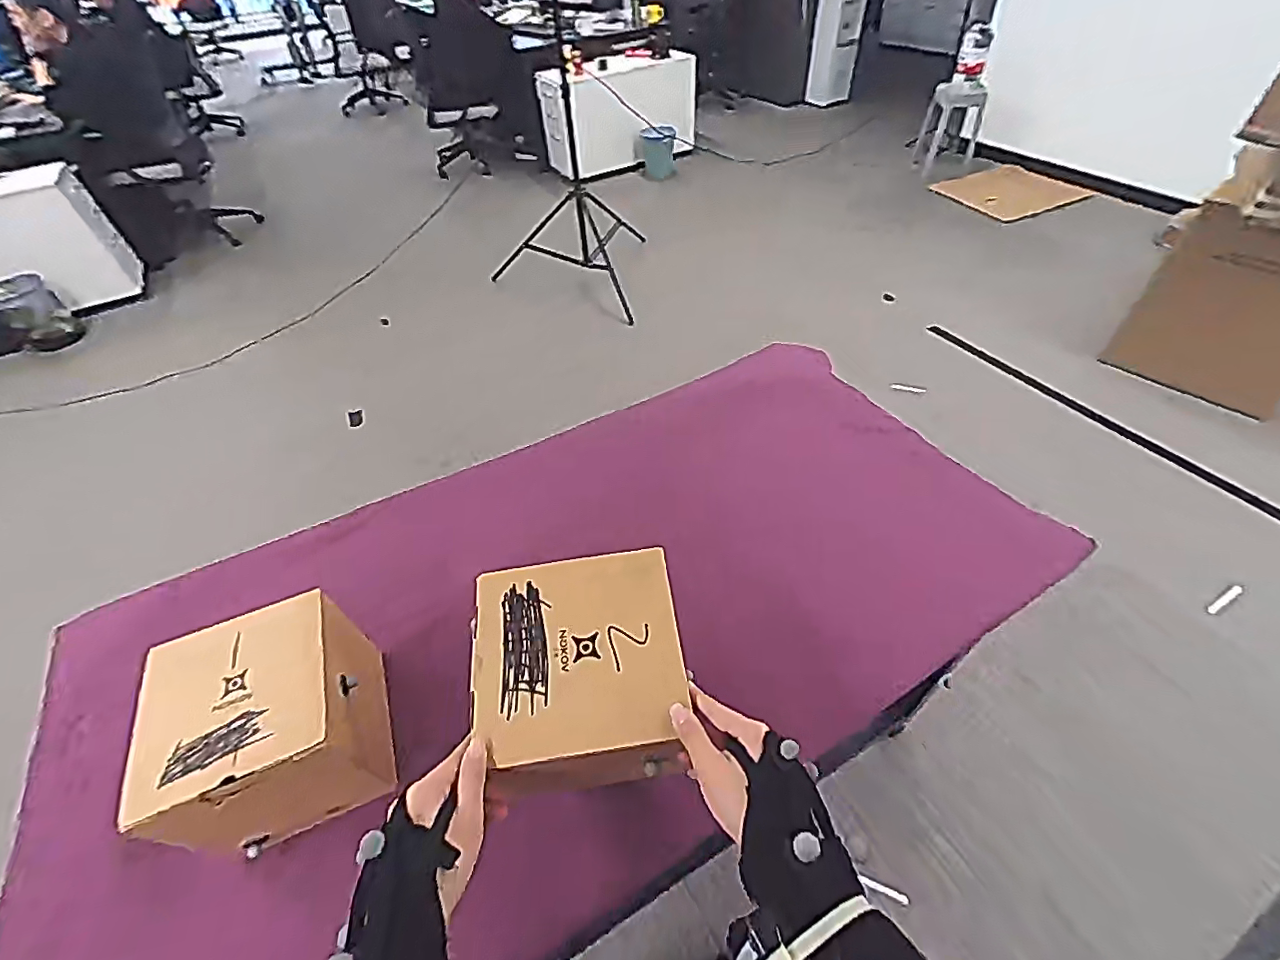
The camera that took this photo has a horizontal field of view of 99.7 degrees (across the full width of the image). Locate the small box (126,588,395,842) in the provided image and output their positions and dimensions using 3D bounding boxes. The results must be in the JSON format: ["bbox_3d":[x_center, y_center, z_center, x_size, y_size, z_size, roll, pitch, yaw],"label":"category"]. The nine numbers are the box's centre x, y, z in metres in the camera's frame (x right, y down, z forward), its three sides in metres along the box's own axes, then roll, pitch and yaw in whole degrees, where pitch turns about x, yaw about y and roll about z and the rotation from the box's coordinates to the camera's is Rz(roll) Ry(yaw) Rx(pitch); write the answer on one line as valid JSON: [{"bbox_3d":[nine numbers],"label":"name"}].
[{"bbox_3d":[-0.379,0.253,0.575,0.168,0.176,0.179,-20,49,-14],"label":"small box"}]
